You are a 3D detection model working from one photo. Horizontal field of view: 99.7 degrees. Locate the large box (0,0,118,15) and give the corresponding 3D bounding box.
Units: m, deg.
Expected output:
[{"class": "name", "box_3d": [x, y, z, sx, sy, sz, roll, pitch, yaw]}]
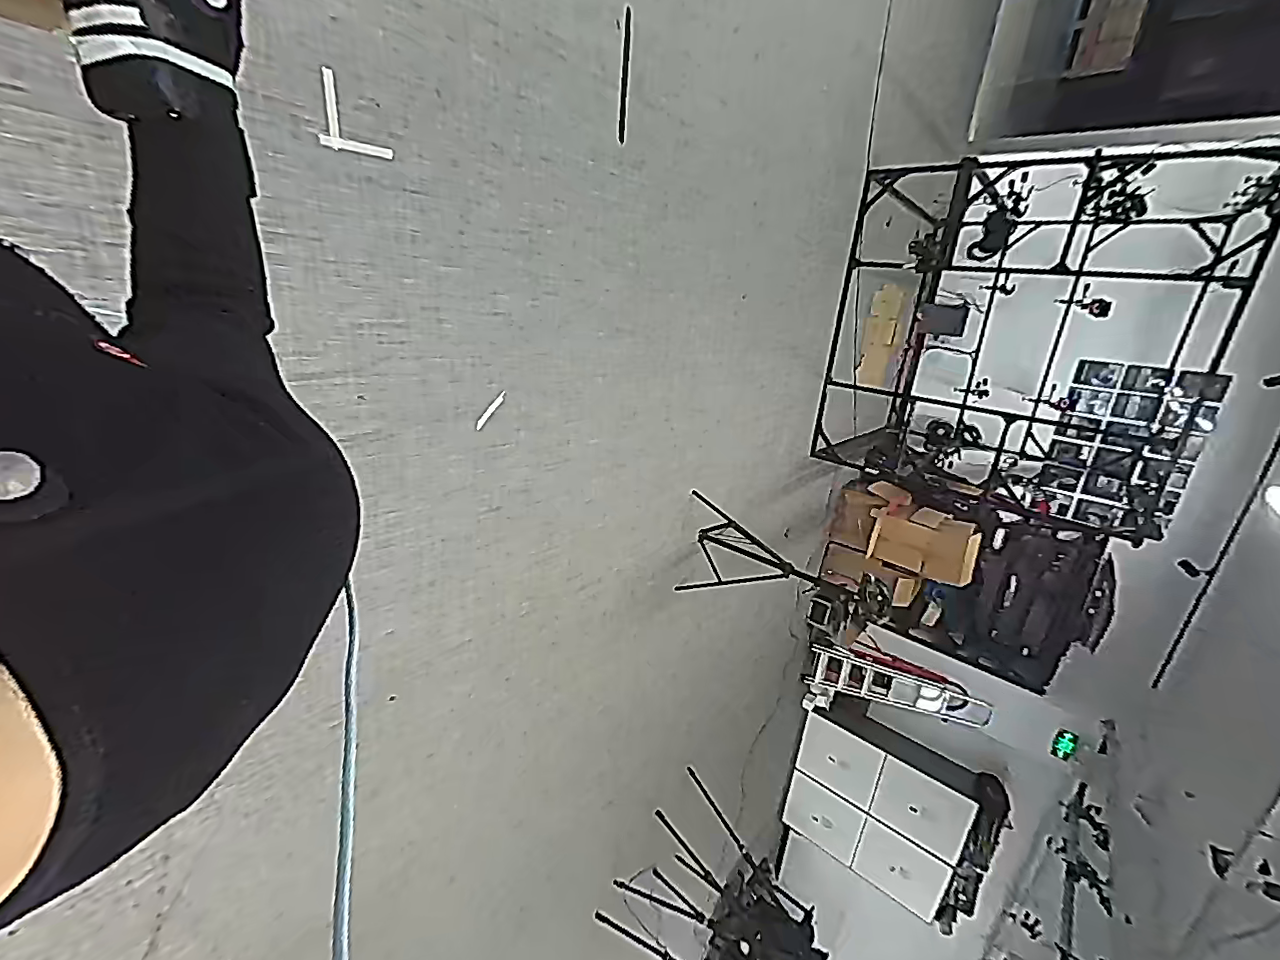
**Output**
[{"class": "large box", "box_3d": [-0.547, -0.475, 0.227, 0.408, 0.320, 0.320, -17, 128, -50]}]
